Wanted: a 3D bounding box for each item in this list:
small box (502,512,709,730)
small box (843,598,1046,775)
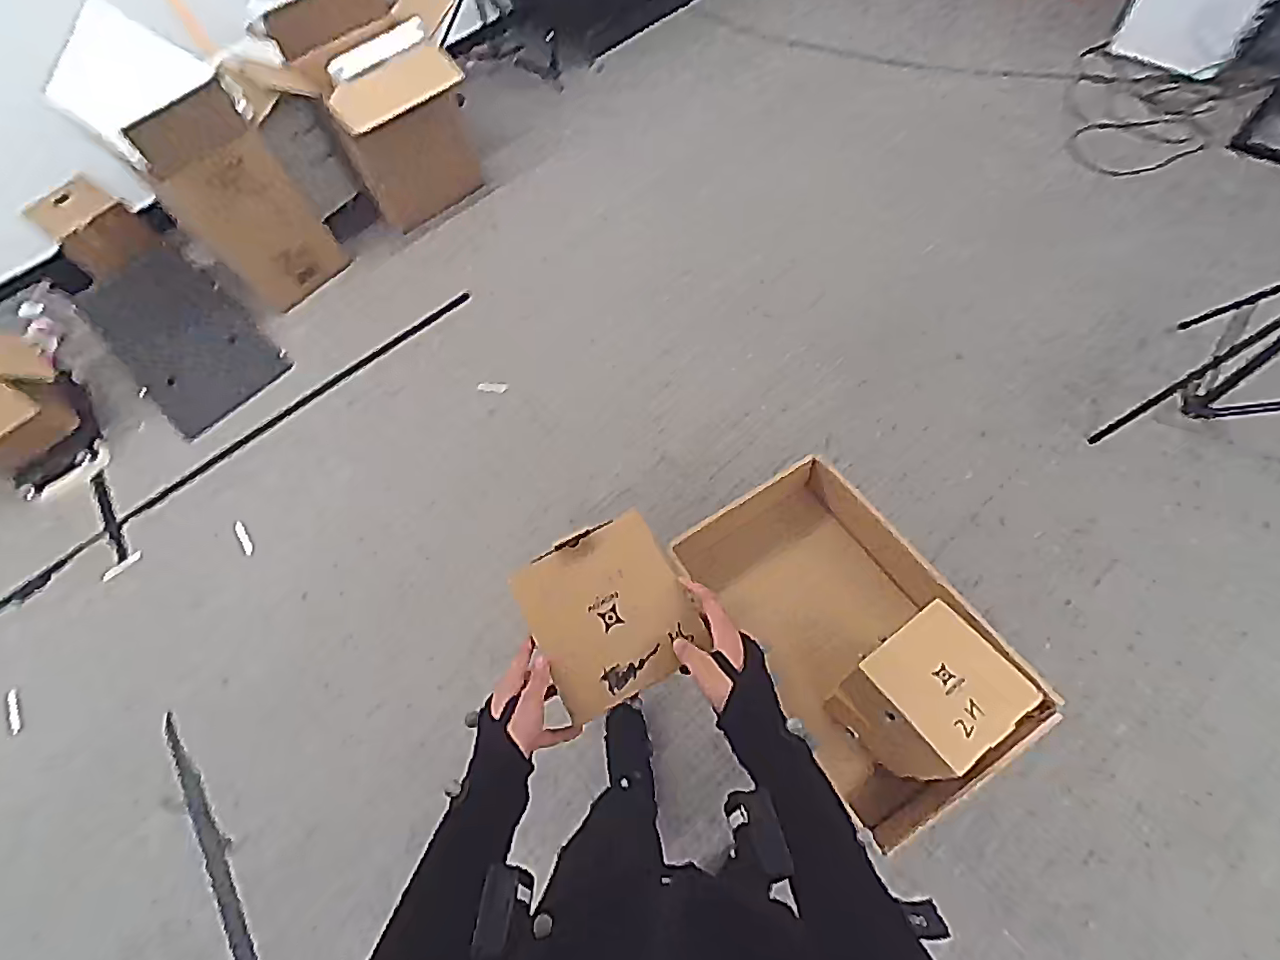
[{"bbox_3d":[-0.039,0.169,0.640,0.168,0.176,0.179,-28,71,-8],"label":"small box"},{"bbox_3d":[0.430,0.312,0.801,0.168,0.176,0.179,-34,61,-10],"label":"small box"}]
